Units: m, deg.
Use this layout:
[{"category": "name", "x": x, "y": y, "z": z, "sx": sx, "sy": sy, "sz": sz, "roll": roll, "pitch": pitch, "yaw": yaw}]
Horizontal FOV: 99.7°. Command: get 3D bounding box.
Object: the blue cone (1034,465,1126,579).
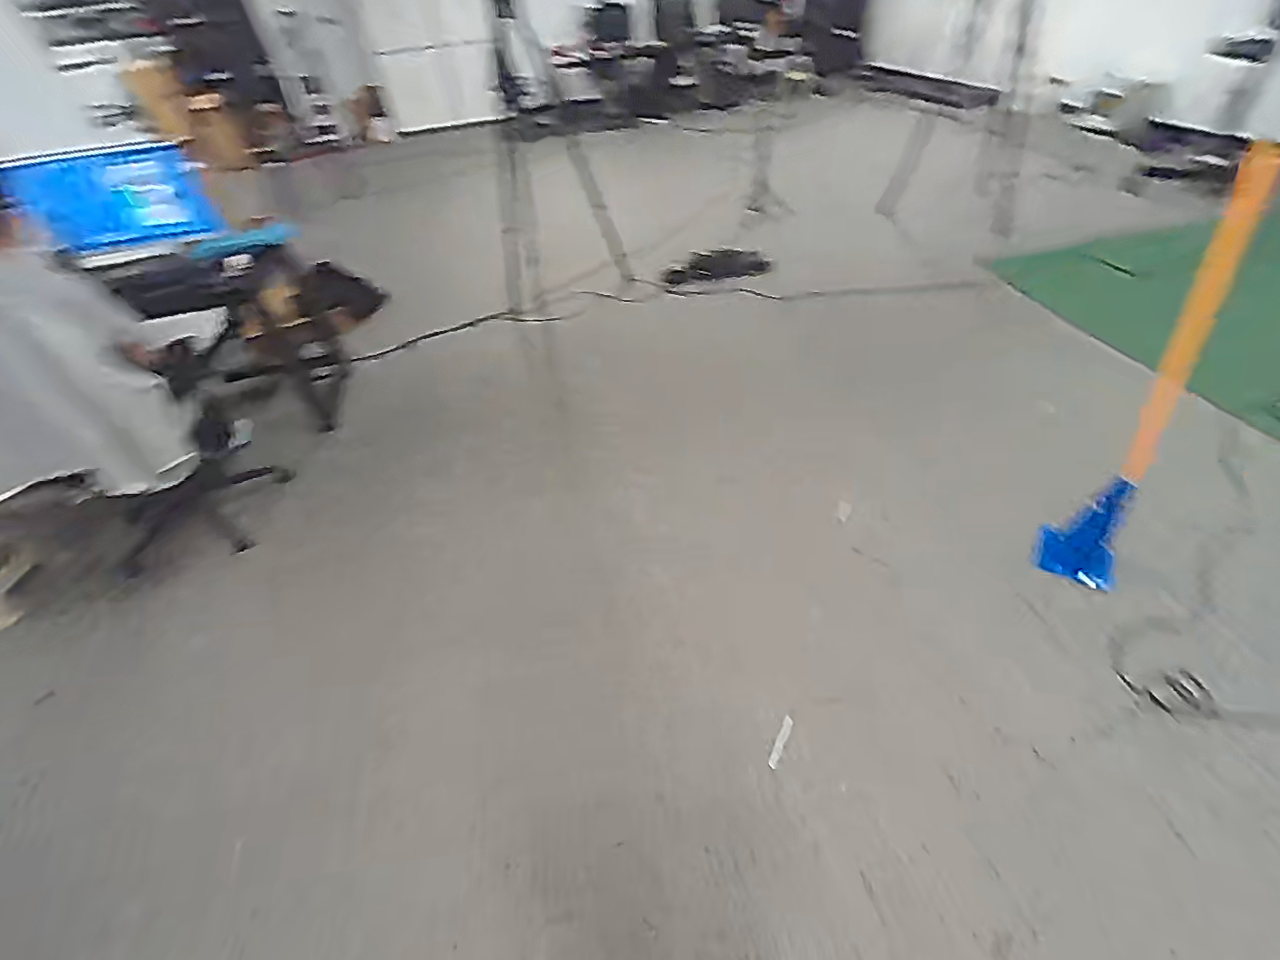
[{"category": "blue cone", "x": 1.360, "y": 0.112, "z": 1.629, "sx": 0.193, "sy": 0.380, "sz": 0.192, "roll": 18, "pitch": 50, "yaw": 27}]
